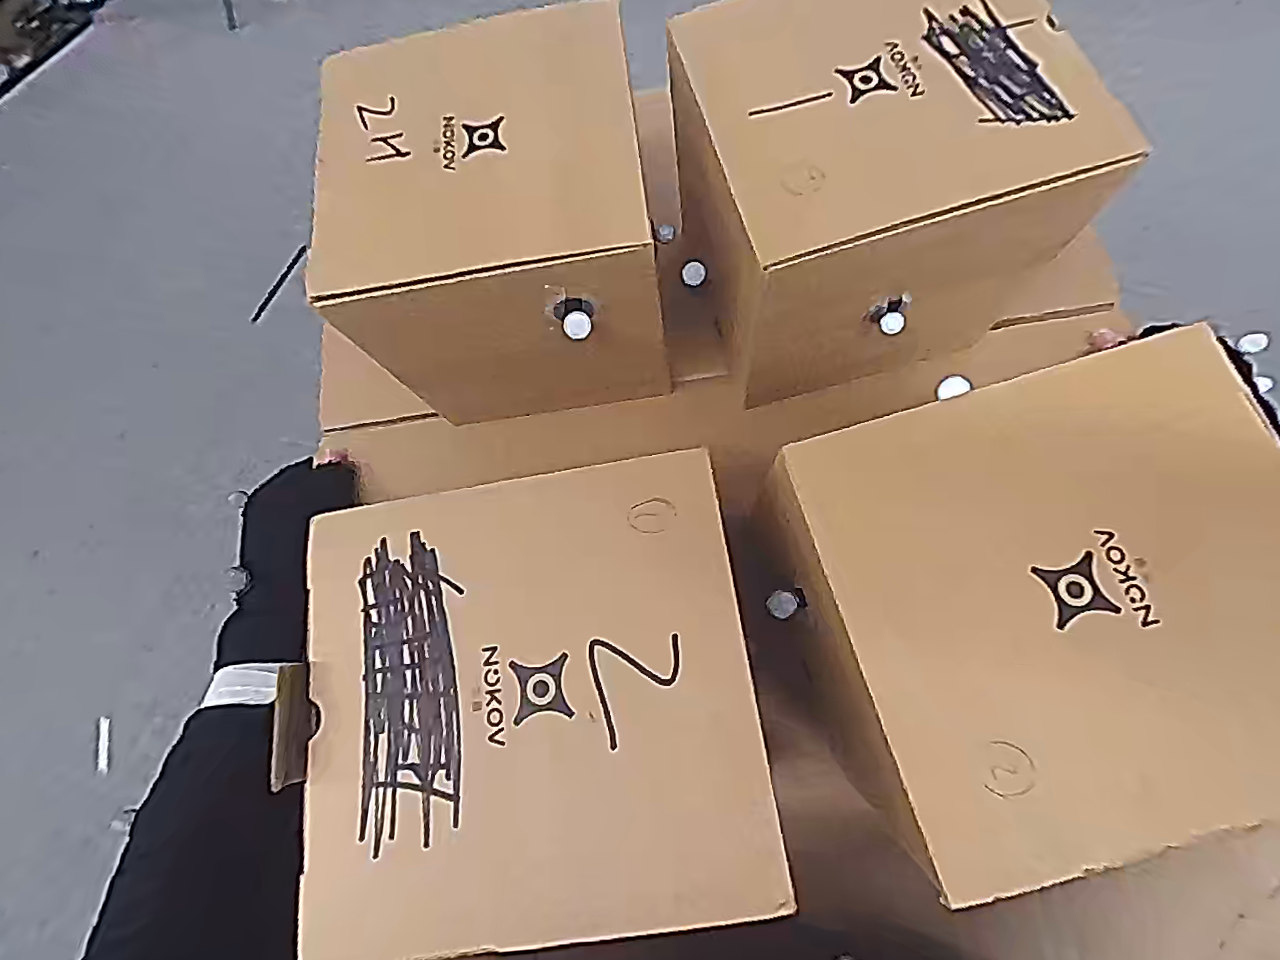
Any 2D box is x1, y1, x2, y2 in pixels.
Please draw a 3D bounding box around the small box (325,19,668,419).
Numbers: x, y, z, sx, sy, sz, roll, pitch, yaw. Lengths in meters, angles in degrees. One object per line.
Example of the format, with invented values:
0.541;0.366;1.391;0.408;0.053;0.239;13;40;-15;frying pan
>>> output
-0.075;-0.155;0.371;0.179;0.176;0.168;-7;73;6;small box
